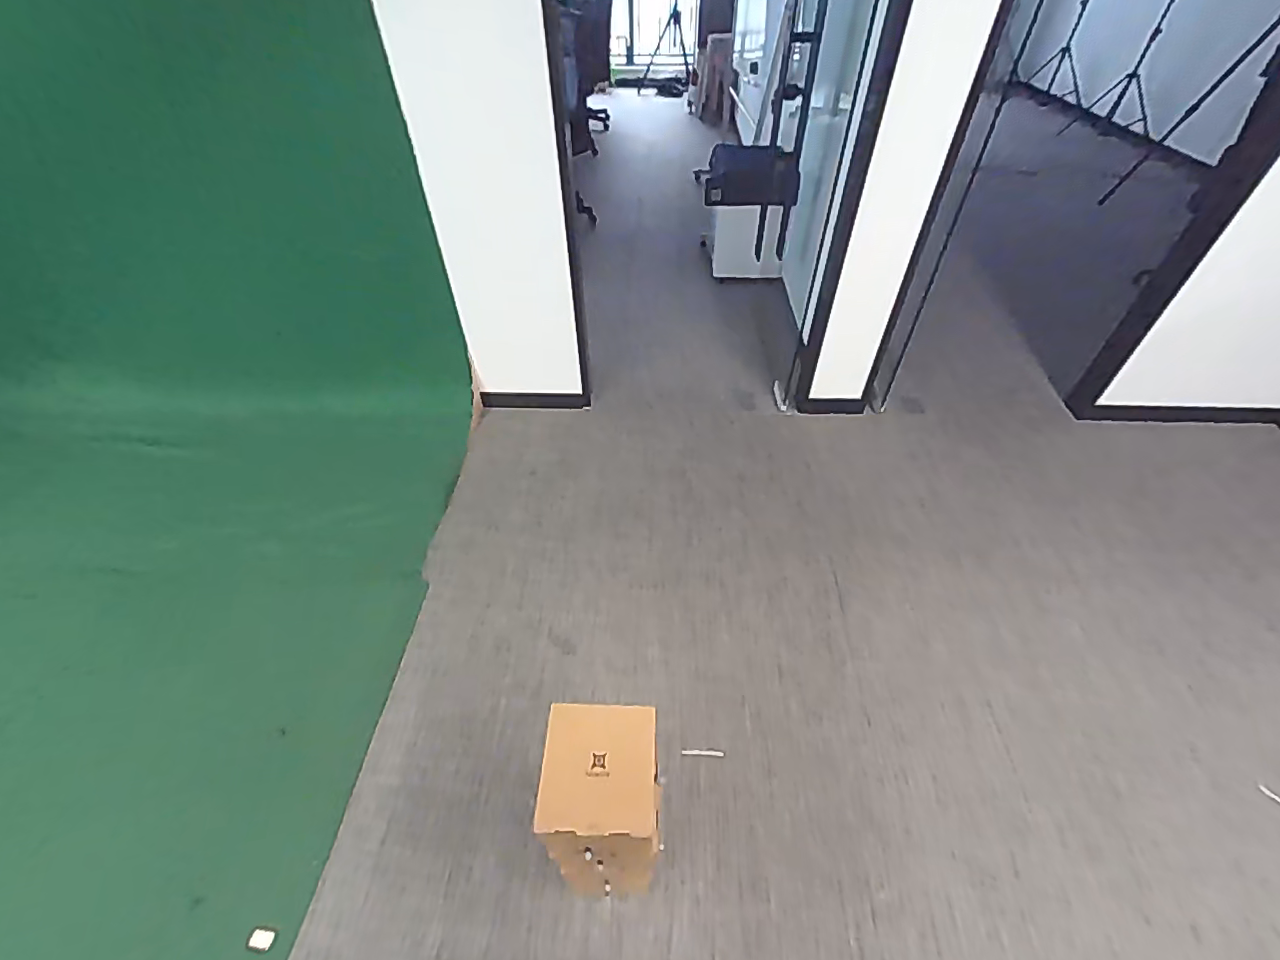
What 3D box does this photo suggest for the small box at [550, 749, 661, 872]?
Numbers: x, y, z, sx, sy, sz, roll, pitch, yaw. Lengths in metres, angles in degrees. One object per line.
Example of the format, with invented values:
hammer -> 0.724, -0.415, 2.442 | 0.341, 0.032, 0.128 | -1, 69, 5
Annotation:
small box -> -0.052, 0.587, 0.967 | 0.179, 0.176, 0.168 | 0, 46, 2

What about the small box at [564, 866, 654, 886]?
small box -> -0.057, 0.698, 1.089 | 0.168, 0.176, 0.179 | -2, 47, 0

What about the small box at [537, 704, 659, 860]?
small box -> -0.056, 0.474, 0.850 | 0.168, 0.176, 0.179 | 1, 47, 2
